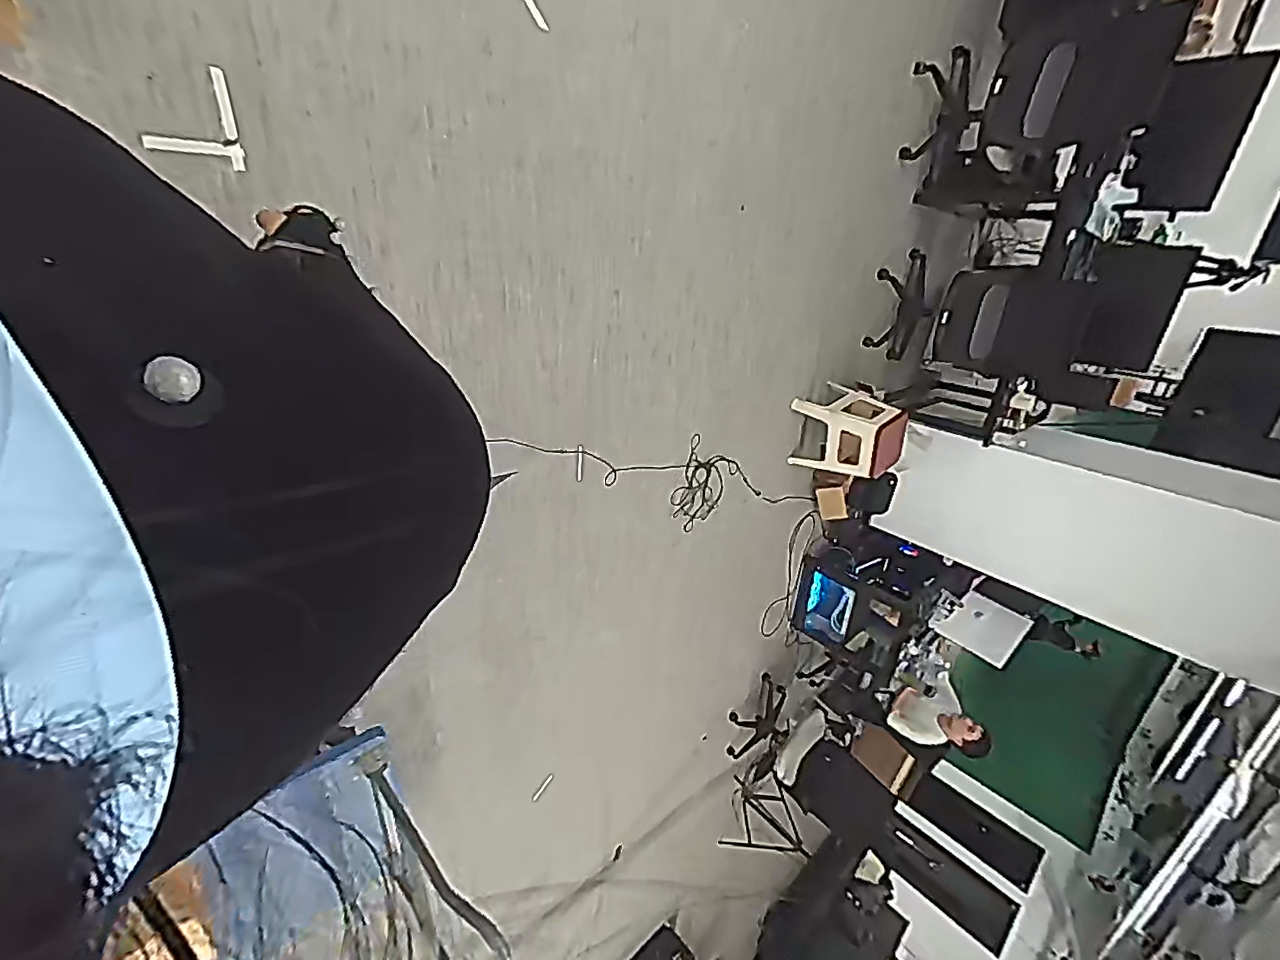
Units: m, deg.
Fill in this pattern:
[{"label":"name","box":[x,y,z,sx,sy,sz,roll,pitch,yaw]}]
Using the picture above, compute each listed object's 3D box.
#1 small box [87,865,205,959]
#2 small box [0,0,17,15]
[{"label":"small box","box":[-1.141,1.056,1.255,0.168,0.176,0.179,-18,122,-39]},{"label":"small box","box":[-0.891,-0.708,0.644,0.168,0.176,0.179,-10,117,-41]}]
